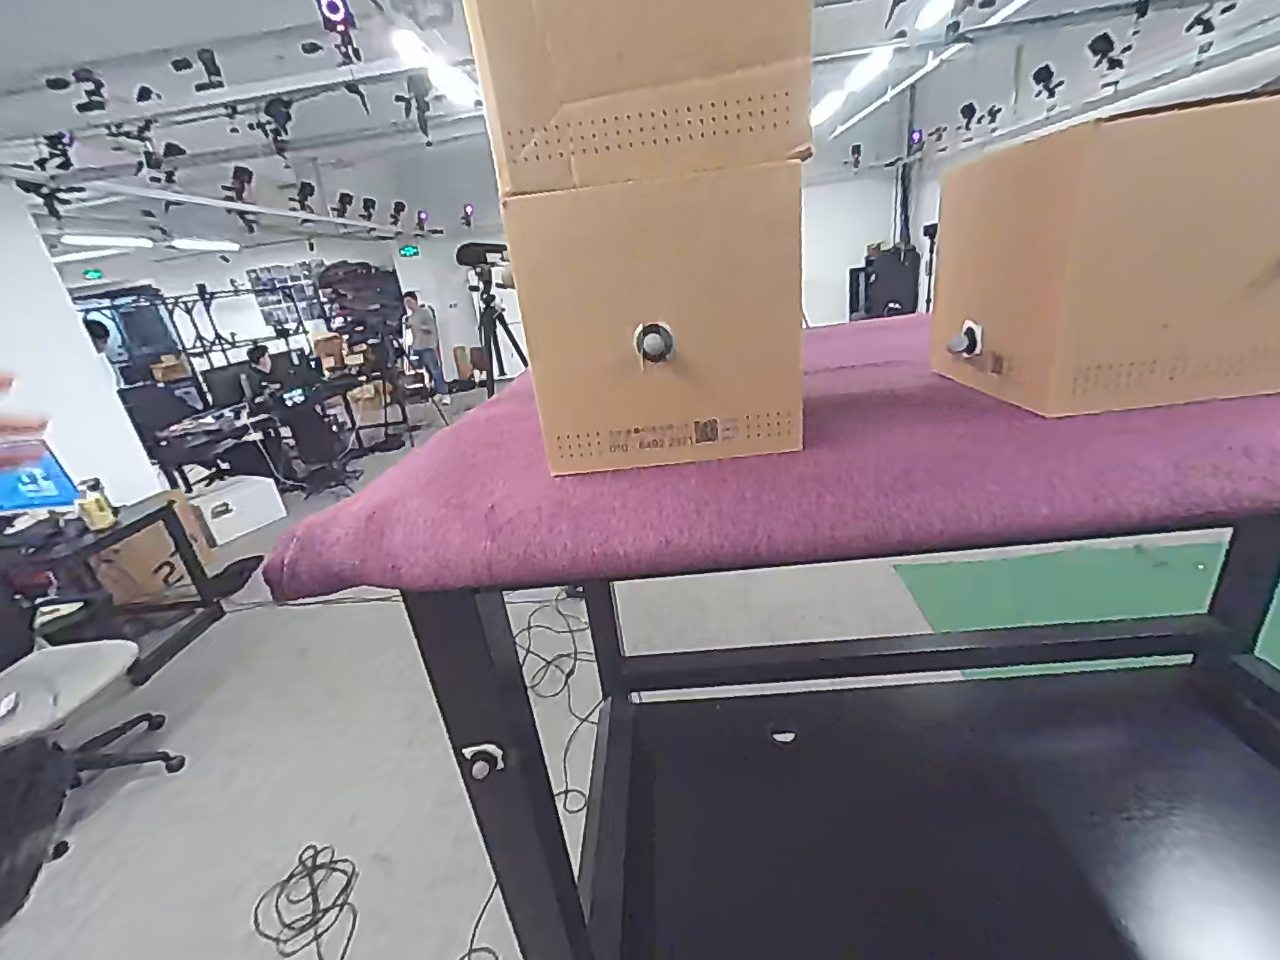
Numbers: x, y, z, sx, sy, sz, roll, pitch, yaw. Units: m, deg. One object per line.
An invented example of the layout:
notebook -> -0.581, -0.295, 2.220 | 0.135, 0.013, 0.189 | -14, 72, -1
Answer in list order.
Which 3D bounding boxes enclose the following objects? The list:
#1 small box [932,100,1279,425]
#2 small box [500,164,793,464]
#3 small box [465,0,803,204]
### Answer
small box -> 0.333, -0.147, 0.382 | 0.179, 0.176, 0.168 | -7, 21, 4
small box -> 0.014, -0.114, 0.398 | 0.168, 0.176, 0.179 | -5, 22, 3
small box -> -0.004, -0.264, 0.337 | 0.179, 0.176, 0.168 | -5, 23, 2
